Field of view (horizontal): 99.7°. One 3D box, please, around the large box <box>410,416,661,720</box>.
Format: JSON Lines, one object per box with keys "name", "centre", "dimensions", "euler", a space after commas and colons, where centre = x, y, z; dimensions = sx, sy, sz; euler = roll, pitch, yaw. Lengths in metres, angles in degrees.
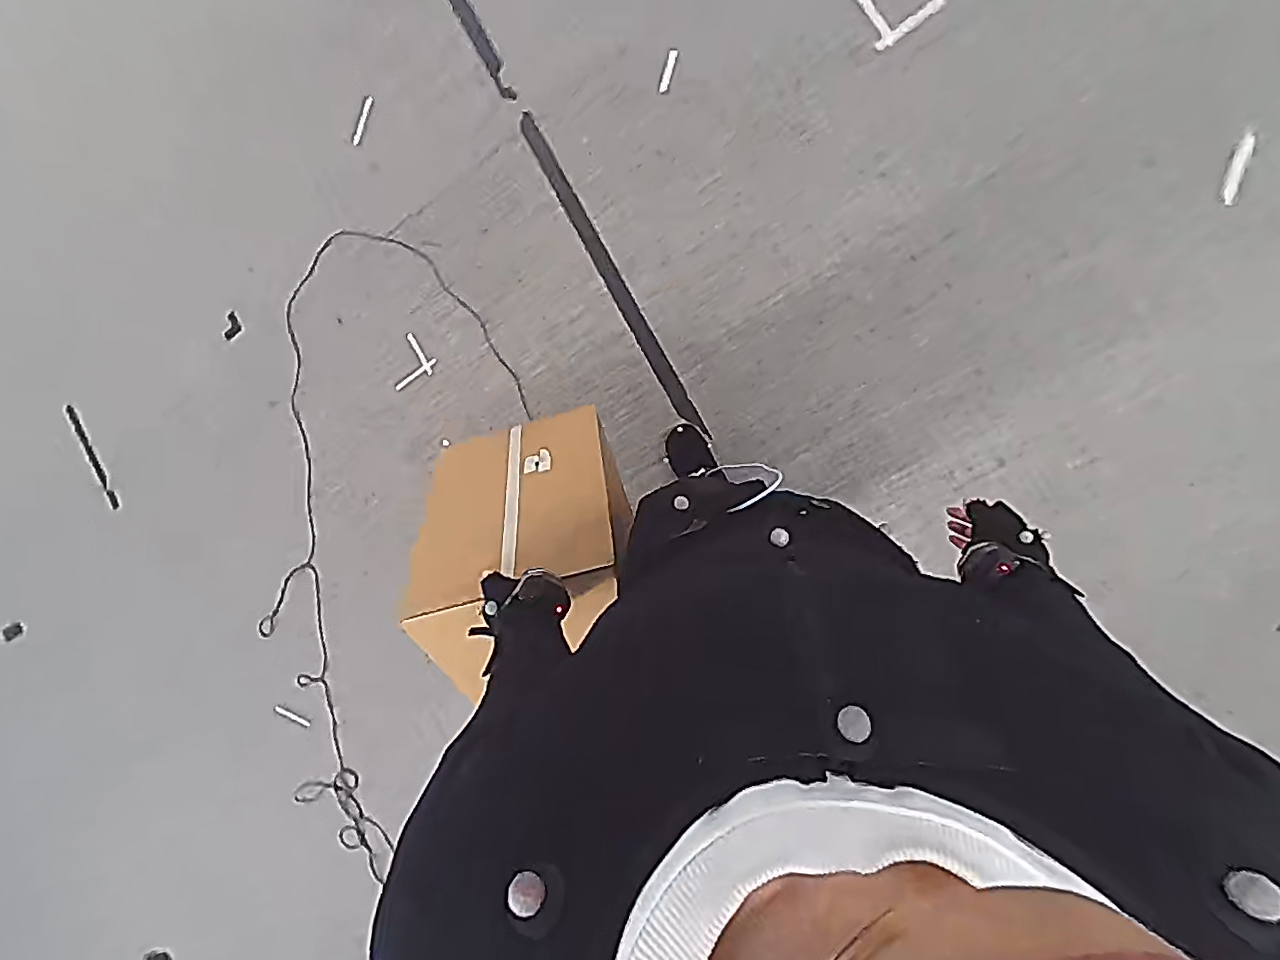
{"name": "large box", "centre": [-0.171, 0.149, 0.991], "dimensions": [0.320, 0.408, 0.320], "euler": [-15, 129, 2]}
